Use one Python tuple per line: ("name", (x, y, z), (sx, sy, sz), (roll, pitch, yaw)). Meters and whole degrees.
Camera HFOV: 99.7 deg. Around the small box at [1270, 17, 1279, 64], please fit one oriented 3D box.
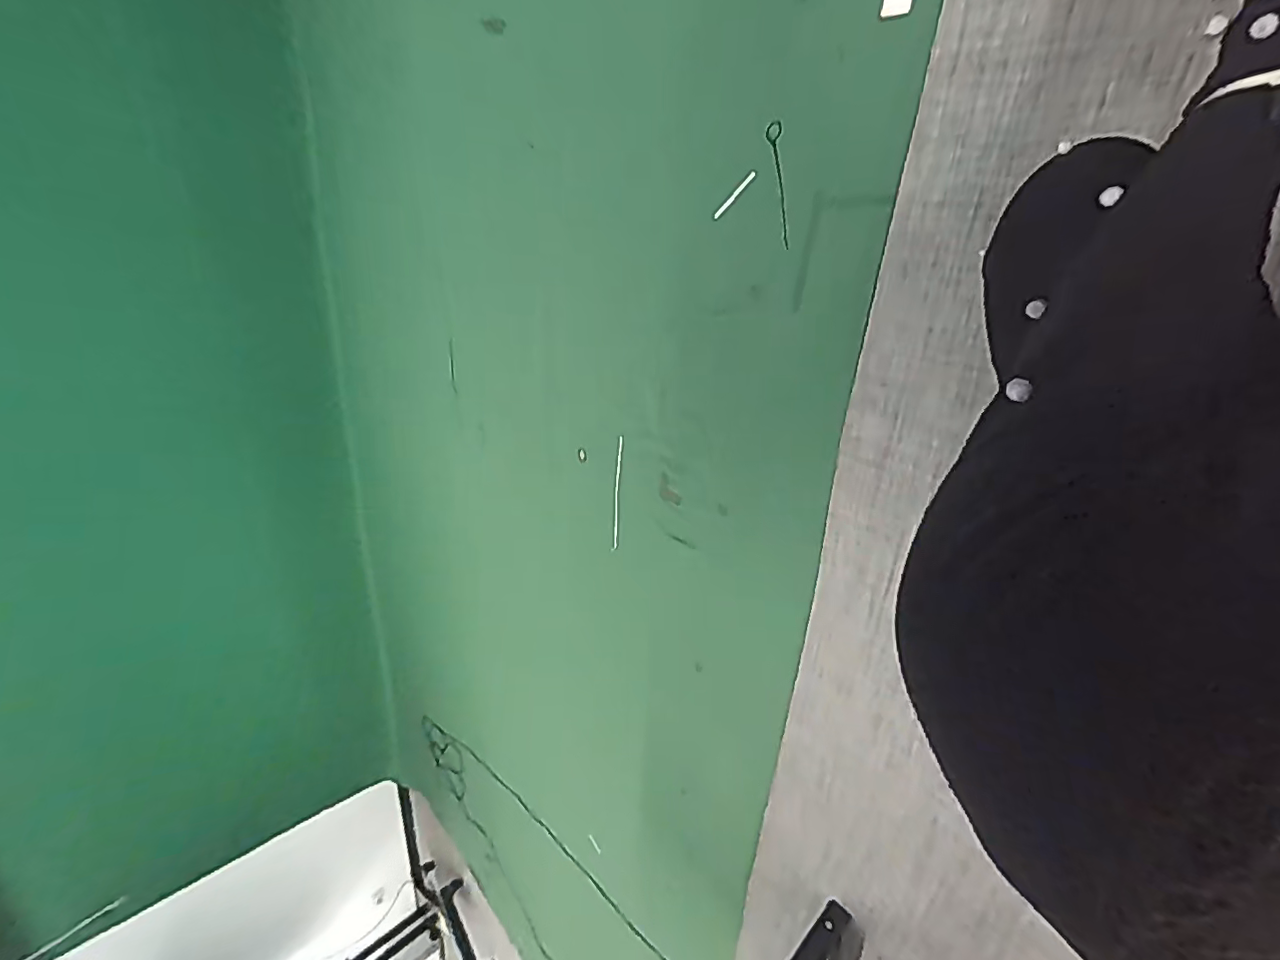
("small box", (0.703, -0.488, 0.469), (0.168, 0.176, 0.179), (22, 118, 41))
